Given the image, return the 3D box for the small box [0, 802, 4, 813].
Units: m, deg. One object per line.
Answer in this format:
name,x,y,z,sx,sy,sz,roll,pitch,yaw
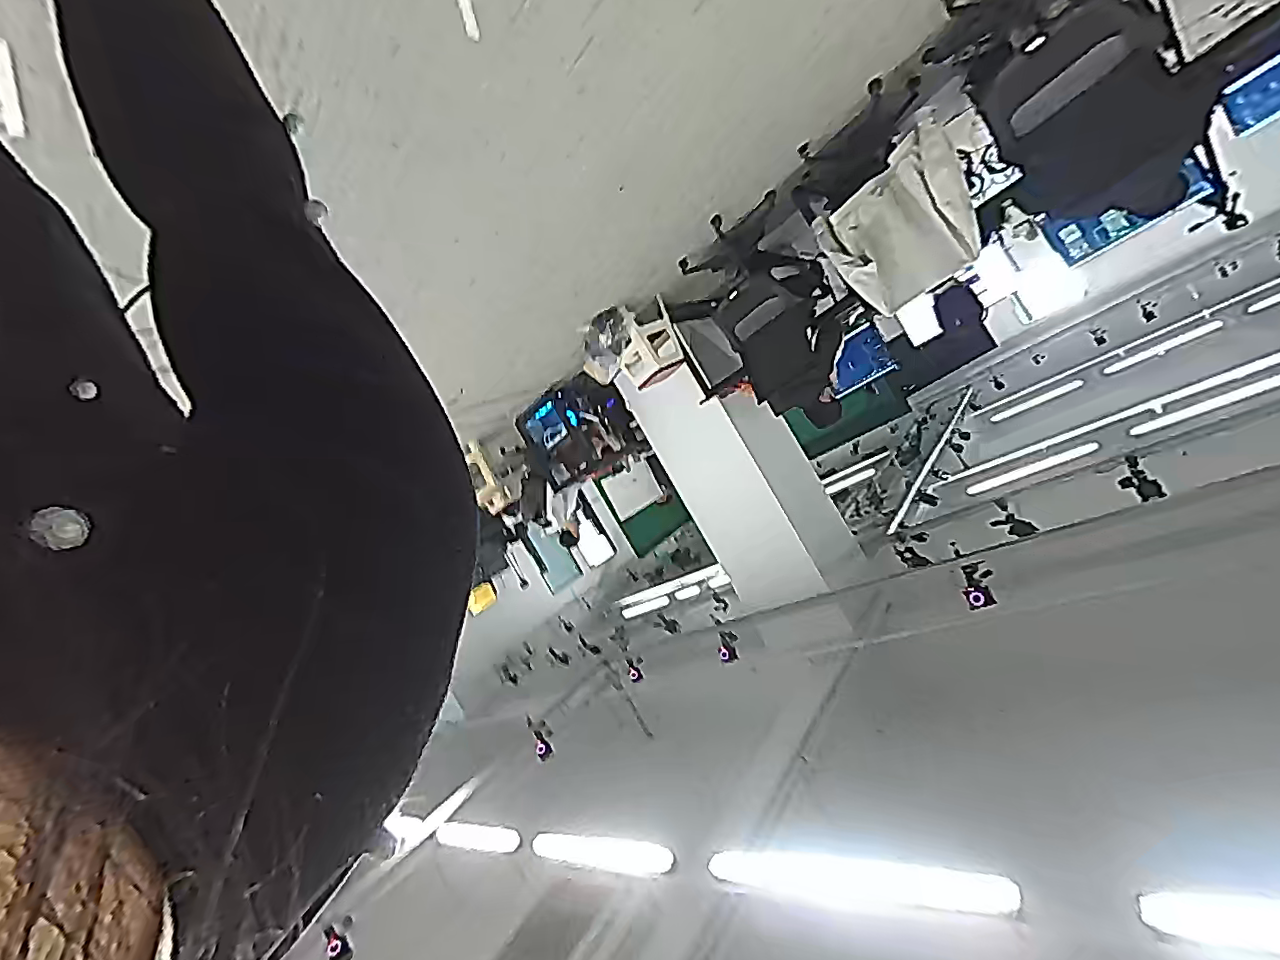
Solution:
small box,-2.034,0.963,1.587,0.179,0.176,0.168,-29,180,40
